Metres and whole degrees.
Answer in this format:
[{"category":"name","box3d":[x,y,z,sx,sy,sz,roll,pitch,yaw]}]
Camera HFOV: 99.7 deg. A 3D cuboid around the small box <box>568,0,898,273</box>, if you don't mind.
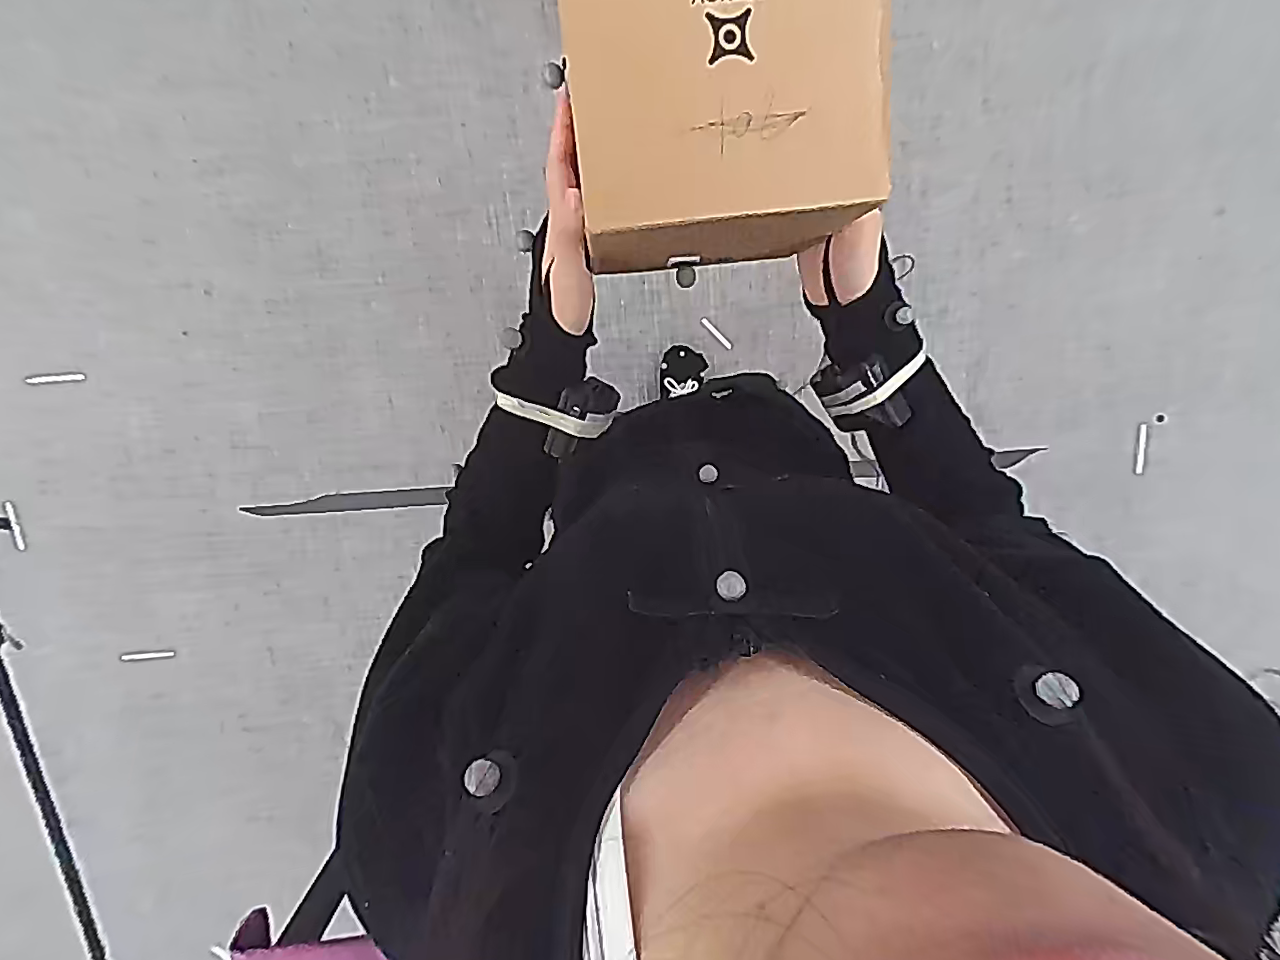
[{"category":"small box","box3d":[0.044,-0.244,0.349,0.168,0.176,0.179,-7,104,-1]}]
